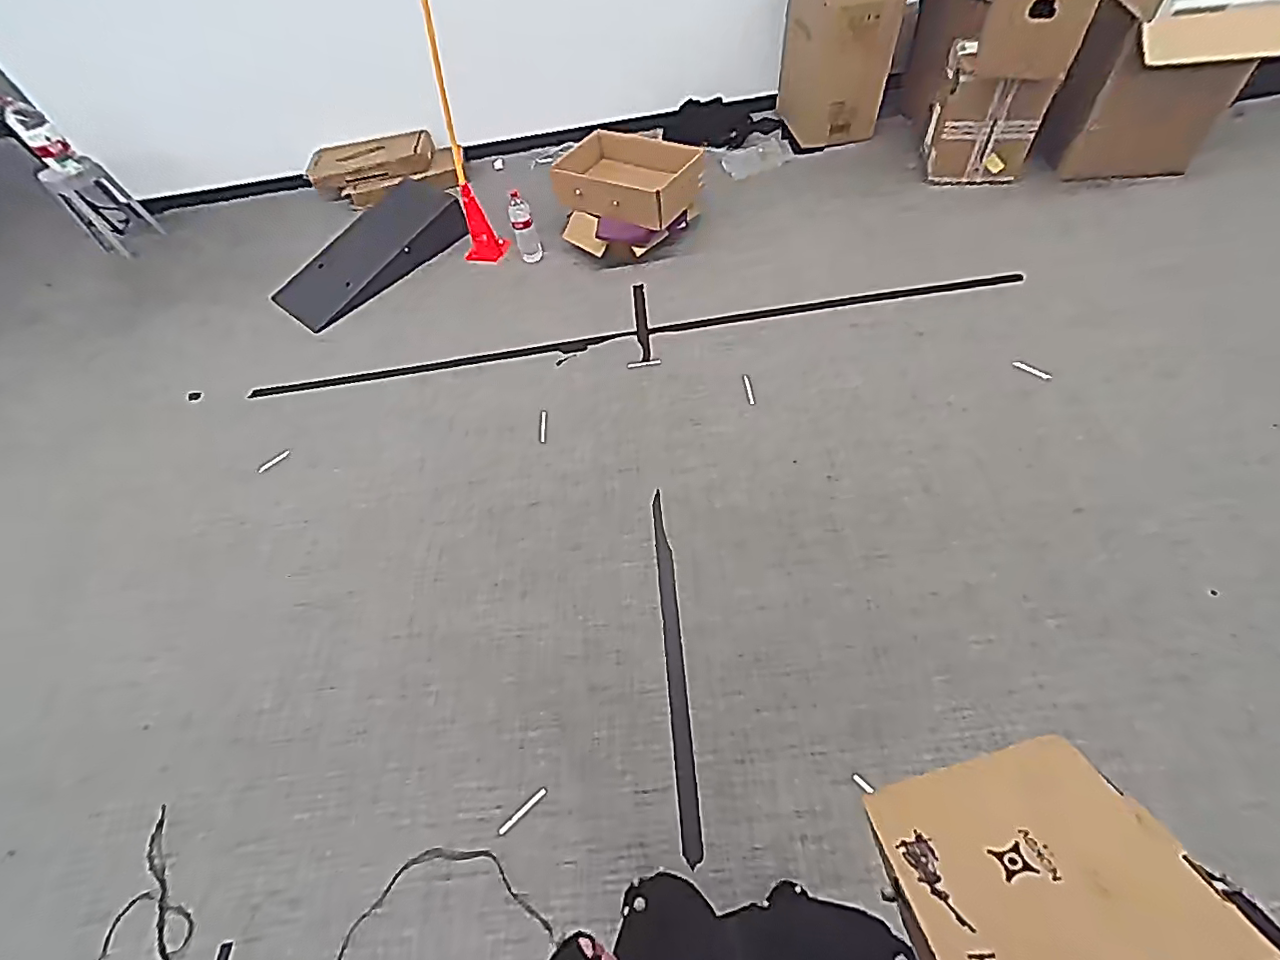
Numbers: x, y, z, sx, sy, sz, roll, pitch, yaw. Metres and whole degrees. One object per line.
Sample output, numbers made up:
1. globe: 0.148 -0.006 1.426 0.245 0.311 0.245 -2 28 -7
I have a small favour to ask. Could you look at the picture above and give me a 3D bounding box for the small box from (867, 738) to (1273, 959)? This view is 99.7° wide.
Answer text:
1. small box: 0.306 0.344 0.414 0.179 0.176 0.168 -21 18 6
